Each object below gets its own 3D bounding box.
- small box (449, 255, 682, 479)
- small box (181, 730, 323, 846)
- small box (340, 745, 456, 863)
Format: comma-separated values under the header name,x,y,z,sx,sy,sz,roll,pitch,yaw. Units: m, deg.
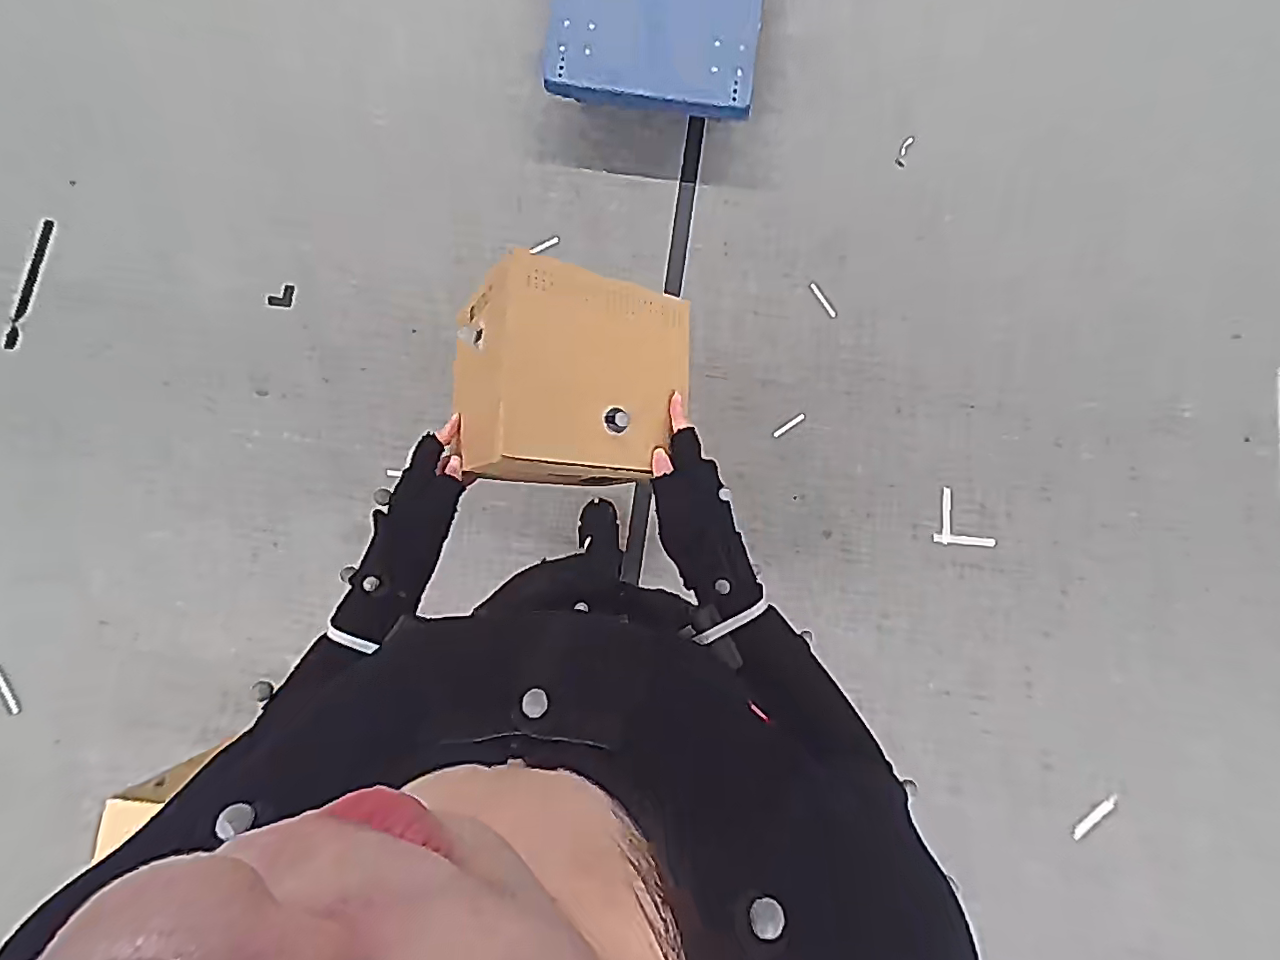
name,x,y,z,sx,sy,sz,roll,pitch,yaw
small box,-0.072,-0.092,0.523,0.179,0.168,0.176,5,84,-32
small box,-0.845,0.668,1.193,0.179,0.176,0.168,5,84,1
small box,-0.524,0.706,1.196,0.179,0.176,0.168,6,84,0
